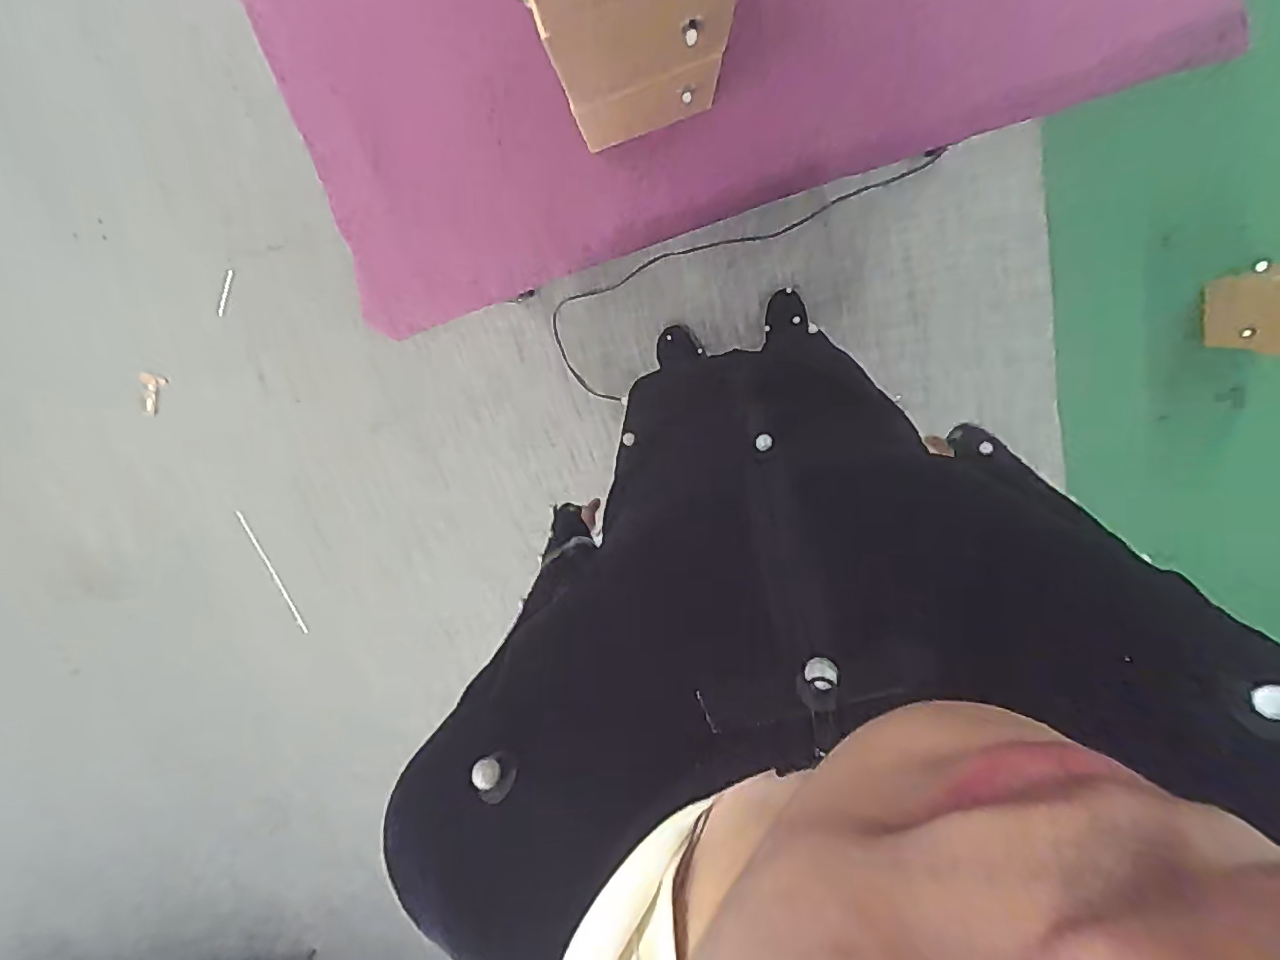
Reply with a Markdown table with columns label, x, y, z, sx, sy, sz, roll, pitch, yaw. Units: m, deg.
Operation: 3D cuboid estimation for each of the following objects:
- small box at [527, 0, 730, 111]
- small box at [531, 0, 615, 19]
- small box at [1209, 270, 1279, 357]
| label | x | y | z | sx | sy | sz | roll | pitch | yaw |
| --- | --- | --- | --- | --- | --- | --- | --- | --- | --- |
| small box | -0.021 | -0.481 | 0.495 | 0.179 | 0.176 | 0.168 | -16 | 105 | 8 |
| small box | -0.031 | -0.440 | 0.337 | 0.168 | 0.176 | 0.179 | -17 | 105 | 7 |
| small box | 1.581 | -0.421 | 1.347 | 0.168 | 0.176 | 0.179 | -15 | 105 | 8 |
